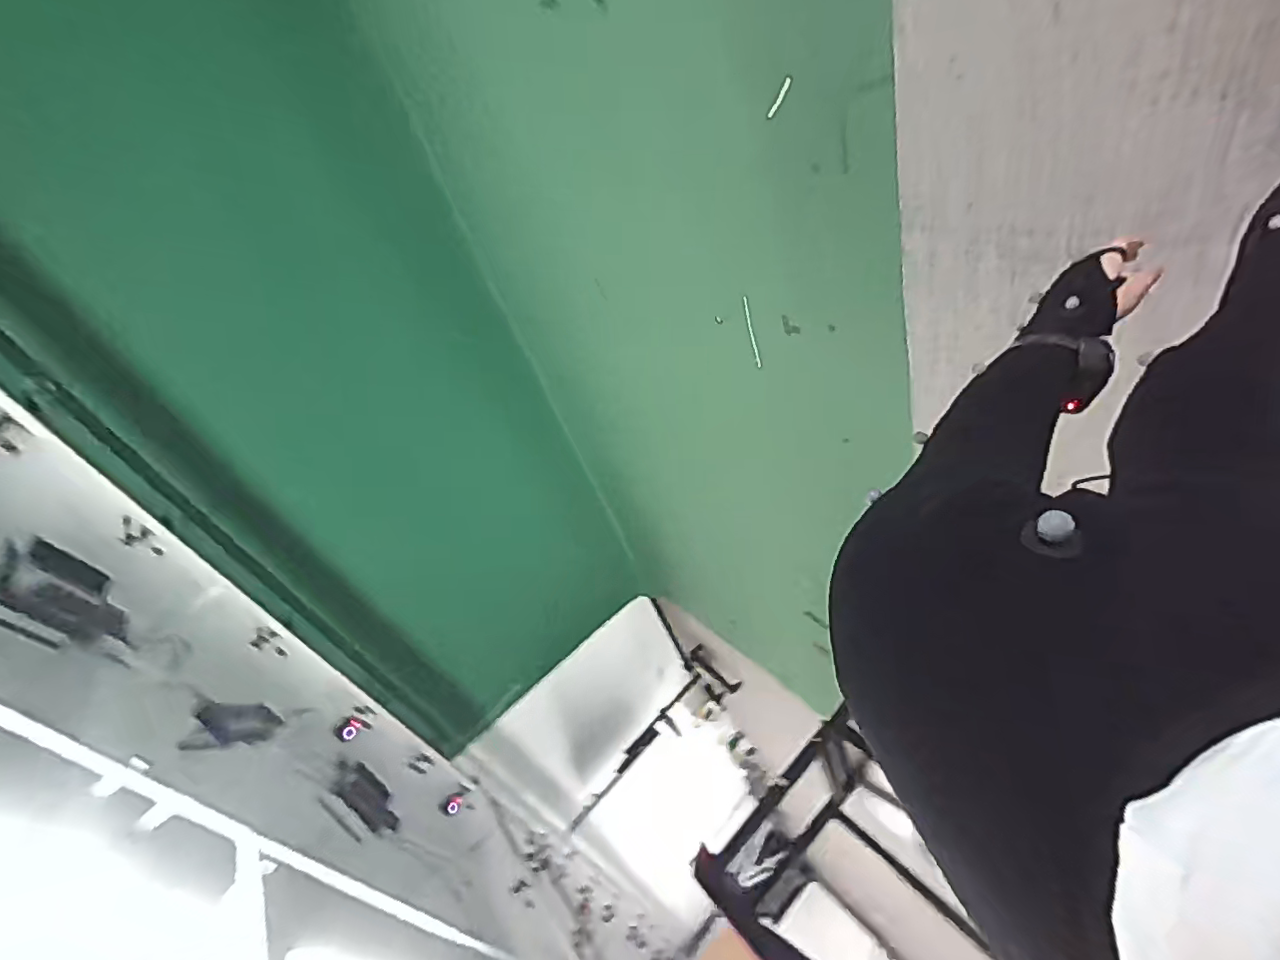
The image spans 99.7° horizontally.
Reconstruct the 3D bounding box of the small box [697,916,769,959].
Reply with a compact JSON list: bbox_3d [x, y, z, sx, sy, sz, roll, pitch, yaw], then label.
[{"bbox_3d":[0.326,1.612,1.795,0.179,0.176,0.168,27,150,47],"label":"small box"}]
